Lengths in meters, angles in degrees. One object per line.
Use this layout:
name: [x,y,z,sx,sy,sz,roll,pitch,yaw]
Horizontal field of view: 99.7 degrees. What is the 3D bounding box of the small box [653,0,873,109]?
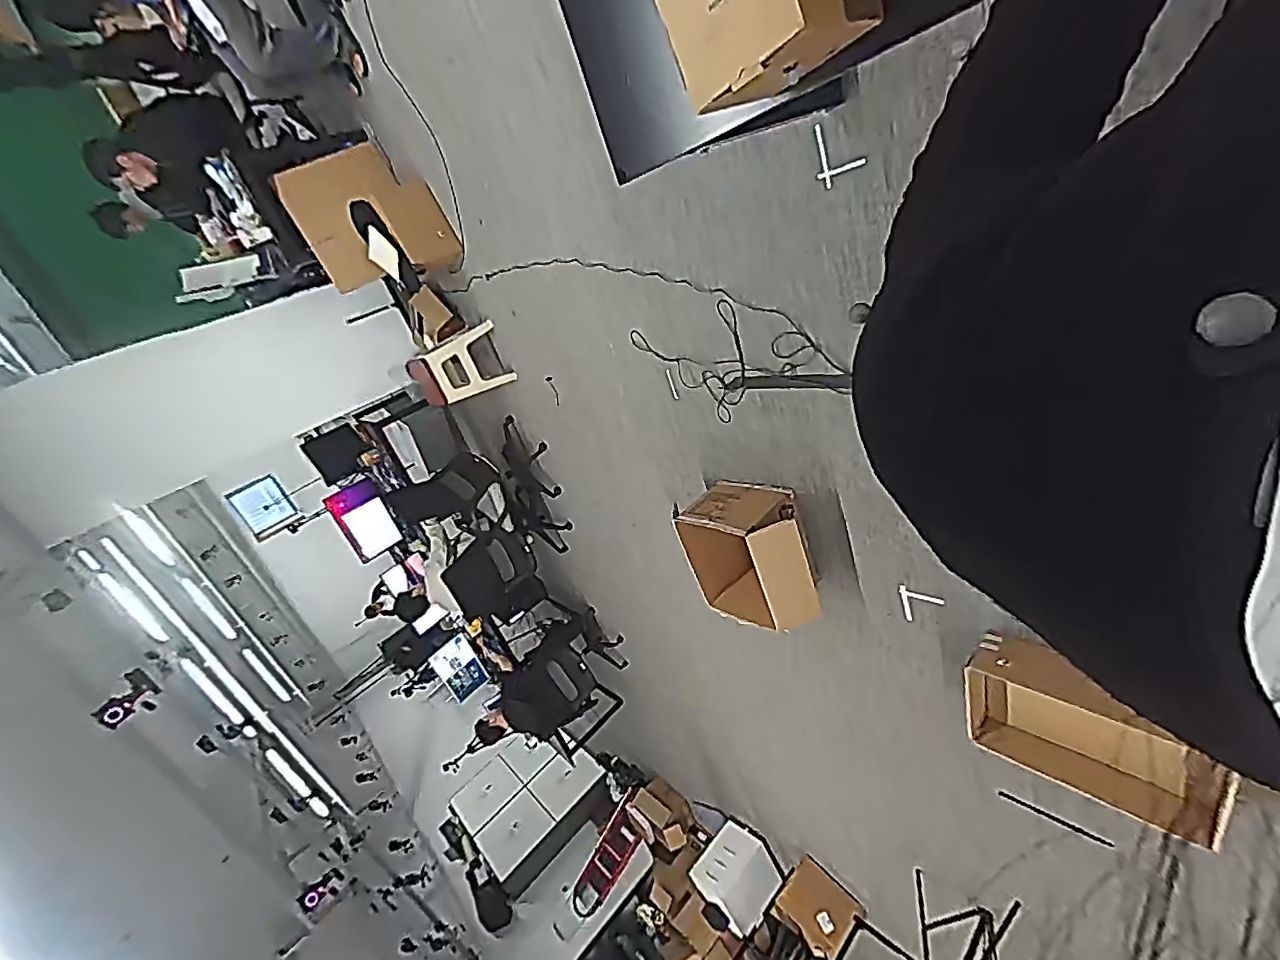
small box: [0.134,-0.565,0.609,0.168,0.176,0.179,2,122,54]
